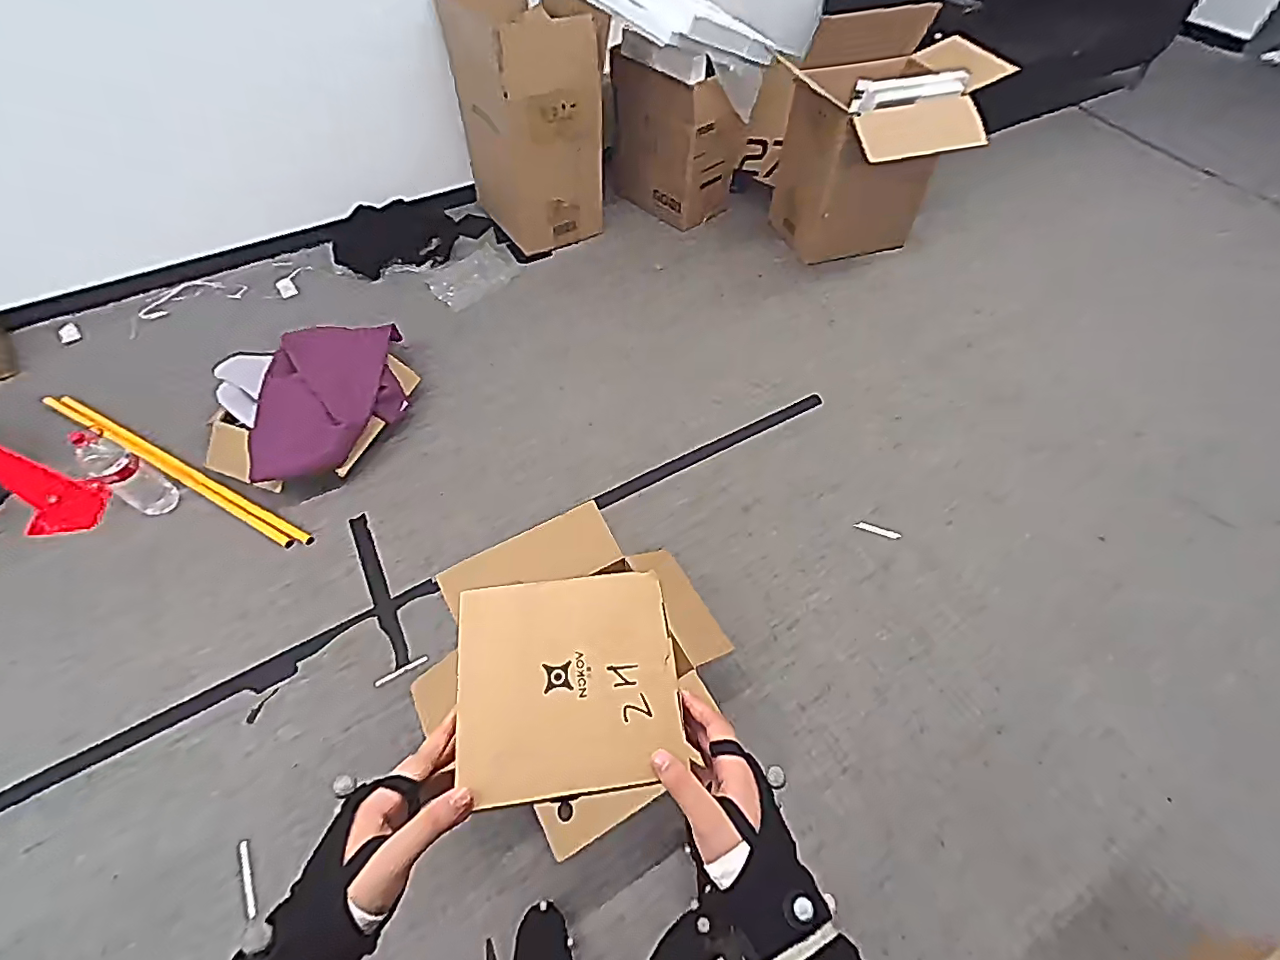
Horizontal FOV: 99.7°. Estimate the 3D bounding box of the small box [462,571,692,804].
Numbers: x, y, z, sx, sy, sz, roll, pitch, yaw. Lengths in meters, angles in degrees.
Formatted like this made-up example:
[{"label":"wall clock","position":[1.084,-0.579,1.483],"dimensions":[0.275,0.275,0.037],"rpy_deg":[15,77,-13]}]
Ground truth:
[{"label":"small box","position":[-0.061,0.201,0.512],"dimensions":[0.179,0.176,0.168],"rpy_deg":[-5,60,-8]}]
